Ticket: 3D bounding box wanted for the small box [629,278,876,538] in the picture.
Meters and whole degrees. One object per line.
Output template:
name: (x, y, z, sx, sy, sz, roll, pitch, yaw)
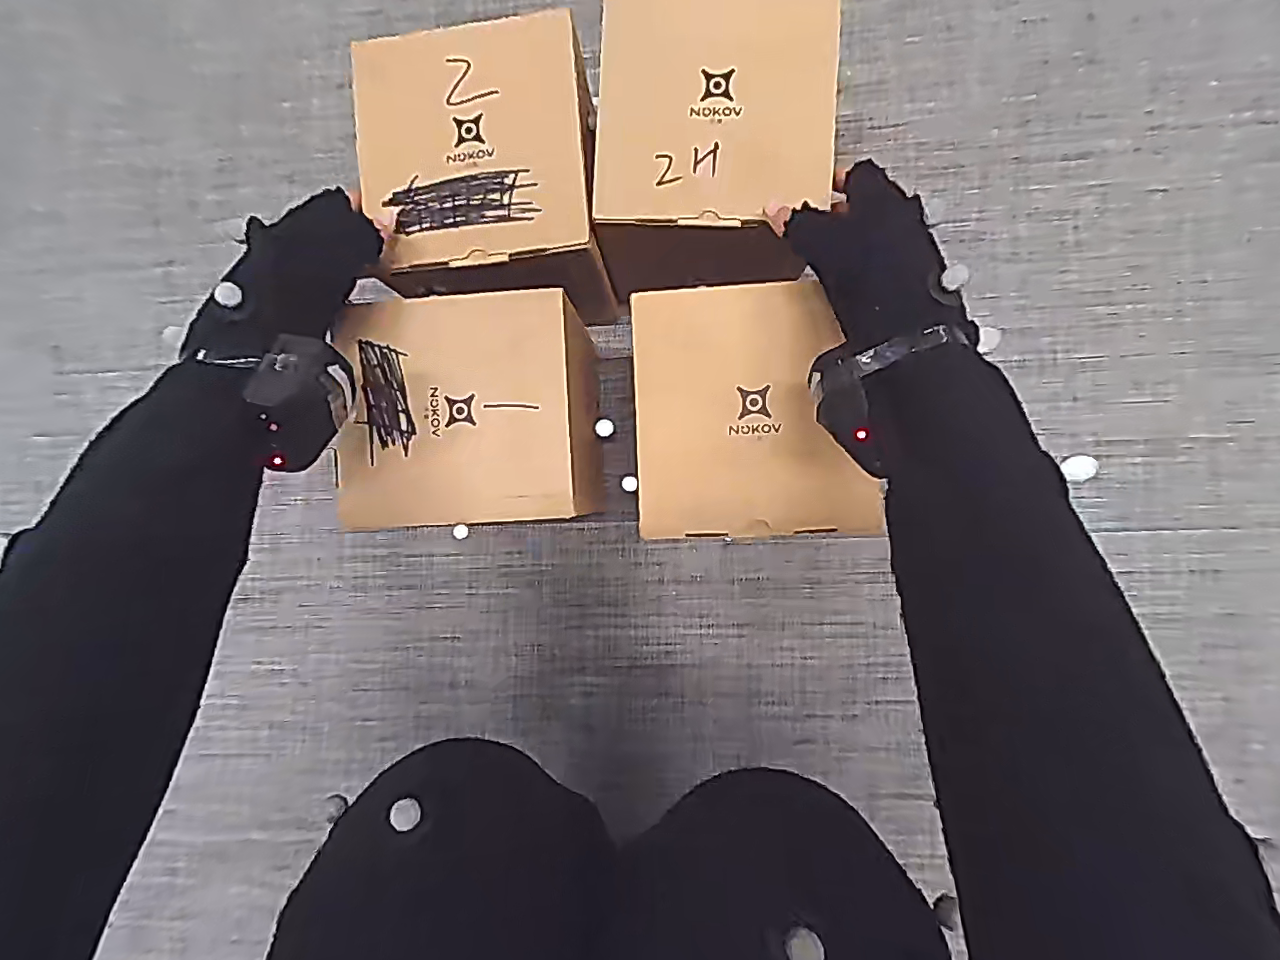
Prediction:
small box: (0.081, -0.048, 0.455, 0.168, 0.176, 0.179, -4, 89, 4)
